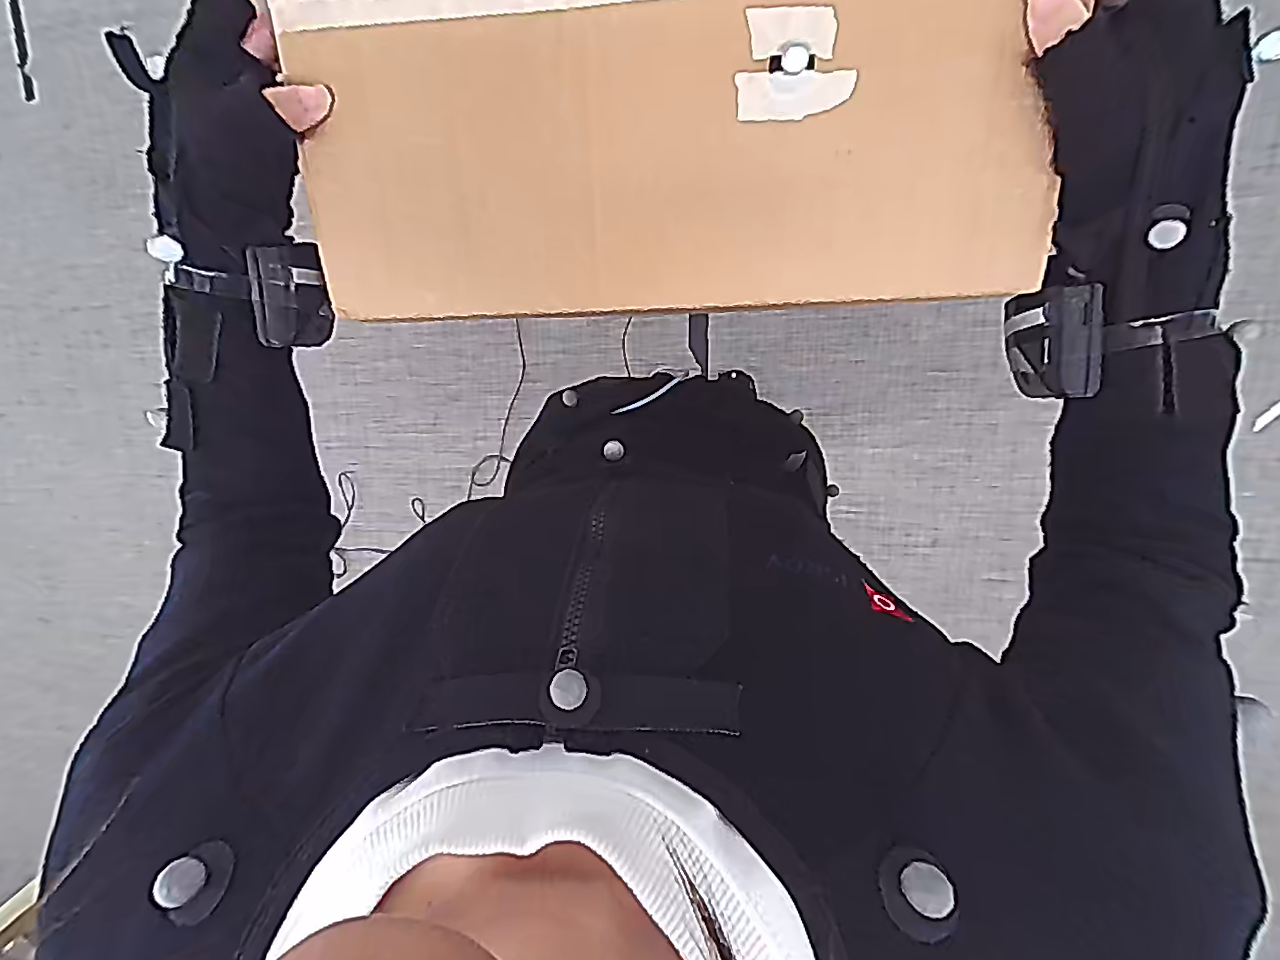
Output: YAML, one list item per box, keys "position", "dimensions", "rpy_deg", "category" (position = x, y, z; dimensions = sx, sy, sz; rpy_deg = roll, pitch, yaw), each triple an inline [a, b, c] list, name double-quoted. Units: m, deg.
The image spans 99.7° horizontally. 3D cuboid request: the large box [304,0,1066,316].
- position: [0.023, -0.302, 0.421]
  dimensions: [0.408, 0.320, 0.320]
  rpy_deg: [-1, 108, 5]
  category: "large box"
